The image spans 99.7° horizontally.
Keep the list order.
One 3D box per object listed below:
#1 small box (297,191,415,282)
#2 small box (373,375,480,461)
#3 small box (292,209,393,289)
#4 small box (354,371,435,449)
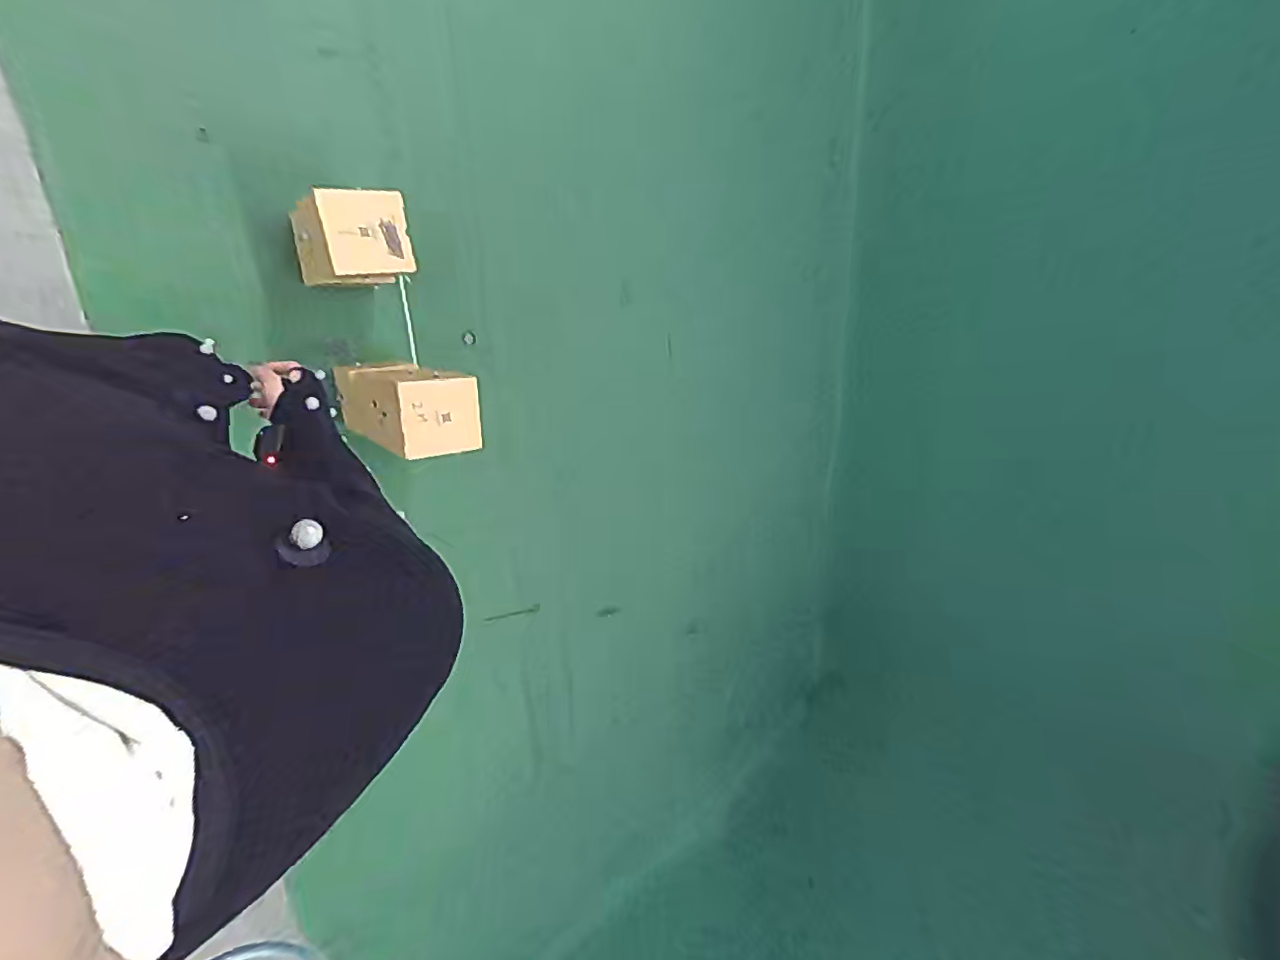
[{"bbox_3d":[-0.635,-0.538,1.211,0.179,0.176,0.168,-20,114,-37],"label":"small box"},{"bbox_3d":[-0.485,-0.149,1.230,0.179,0.176,0.168,-13,111,-39],"label":"small box"},{"bbox_3d":[-0.738,-0.565,1.336,0.179,0.176,0.168,-17,113,-39],"label":"small box"},{"bbox_3d":[-0.590,-0.183,1.353,0.179,0.176,0.168,-14,111,-39],"label":"small box"}]
